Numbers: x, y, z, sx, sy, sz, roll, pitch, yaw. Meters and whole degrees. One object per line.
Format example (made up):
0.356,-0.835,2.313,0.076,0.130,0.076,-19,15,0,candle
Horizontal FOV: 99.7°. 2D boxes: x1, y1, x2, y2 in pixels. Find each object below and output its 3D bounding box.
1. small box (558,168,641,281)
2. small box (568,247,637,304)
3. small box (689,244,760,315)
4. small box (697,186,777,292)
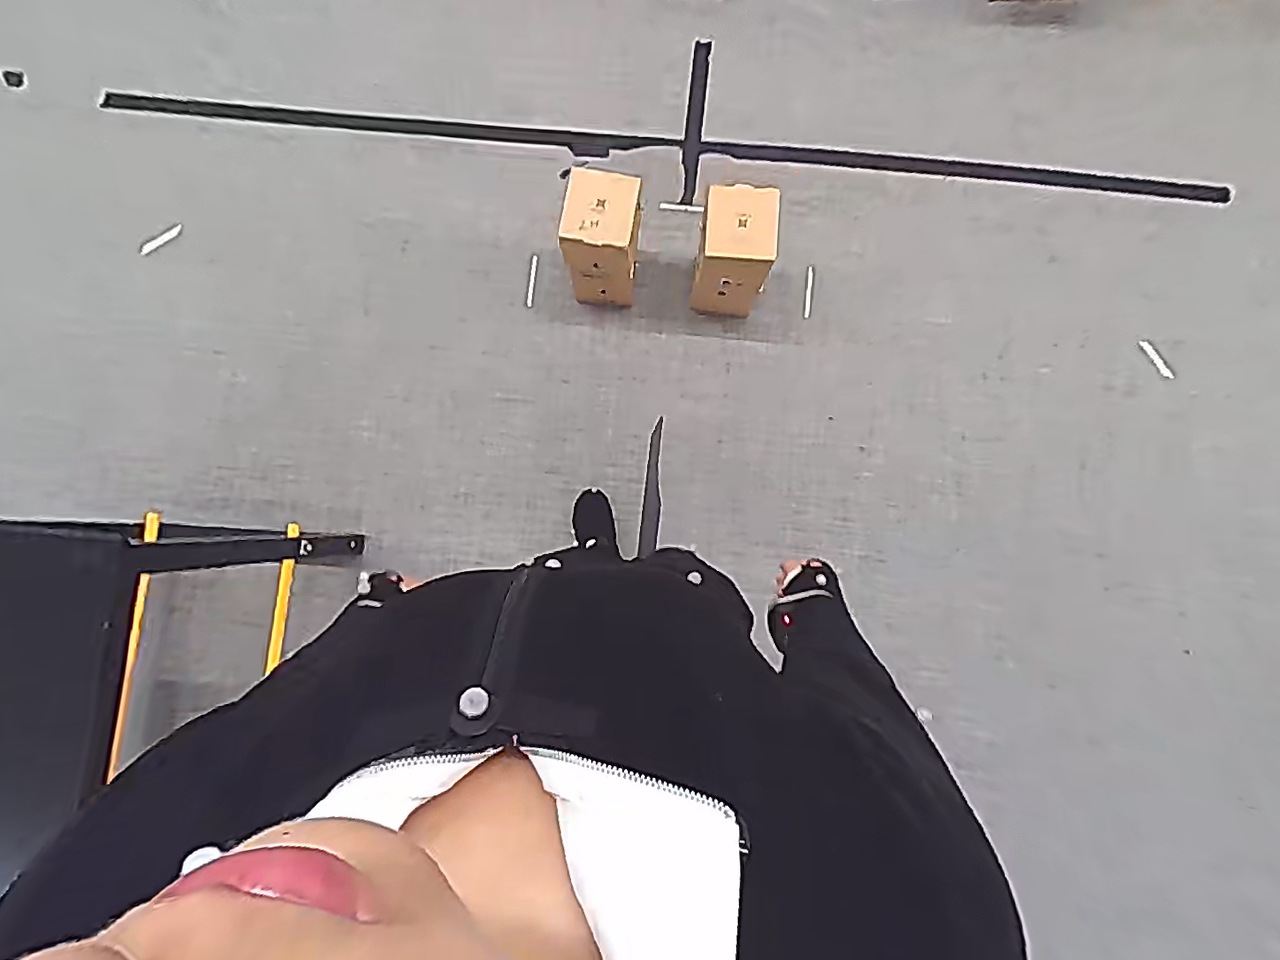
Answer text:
-0.095,-0.616,1.320,0.168,0.176,0.179,10,85,1,small box
-0.098,-0.599,1.485,0.168,0.176,0.179,5,86,0,small box
0.236,-0.569,1.487,0.179,0.176,0.168,8,85,-1,small box
0.232,-0.584,1.325,0.168,0.176,0.179,3,86,1,small box
